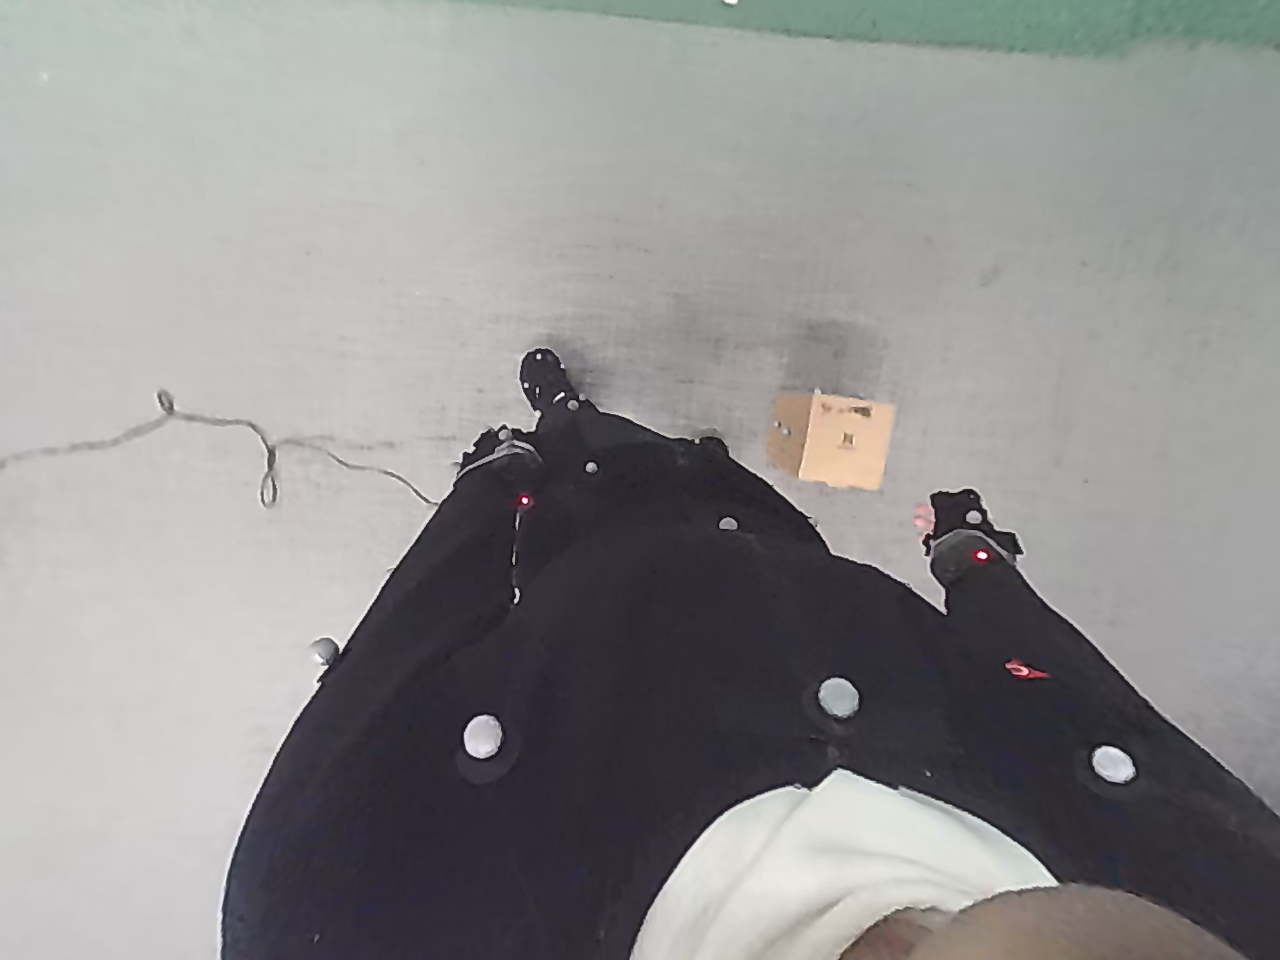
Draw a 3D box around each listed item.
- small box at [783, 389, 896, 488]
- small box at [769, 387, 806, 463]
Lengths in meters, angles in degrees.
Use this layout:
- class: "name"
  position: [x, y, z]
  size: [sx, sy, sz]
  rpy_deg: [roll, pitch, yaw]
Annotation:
- class: "small box"
  position: [0.413, -0.095, 1.153]
  size: [0.168, 0.176, 0.179]
  rpy_deg: [9, 101, 0]
- class: "small box"
  position: [0.423, -0.124, 1.311]
  size: [0.168, 0.176, 0.179]
  rpy_deg: [11, 100, -2]
